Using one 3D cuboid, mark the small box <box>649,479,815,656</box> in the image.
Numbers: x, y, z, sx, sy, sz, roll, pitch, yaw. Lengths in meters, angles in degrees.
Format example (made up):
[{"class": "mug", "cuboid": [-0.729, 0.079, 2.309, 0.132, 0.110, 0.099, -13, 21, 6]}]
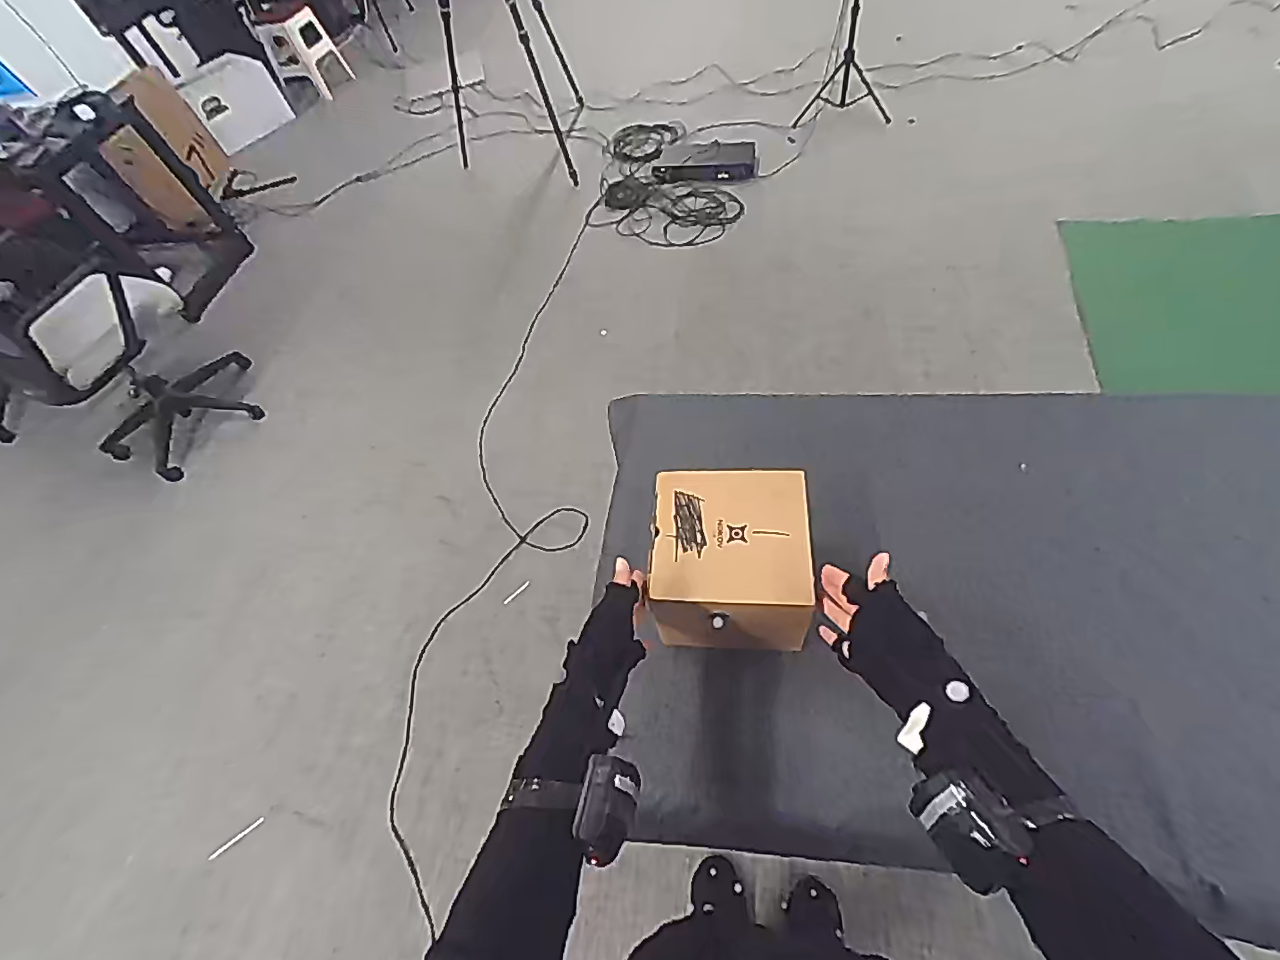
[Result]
[{"class": "small box", "cuboid": [0.113, 0.113, 0.674, 0.179, 0.176, 0.168, 0, 57, 9]}]
